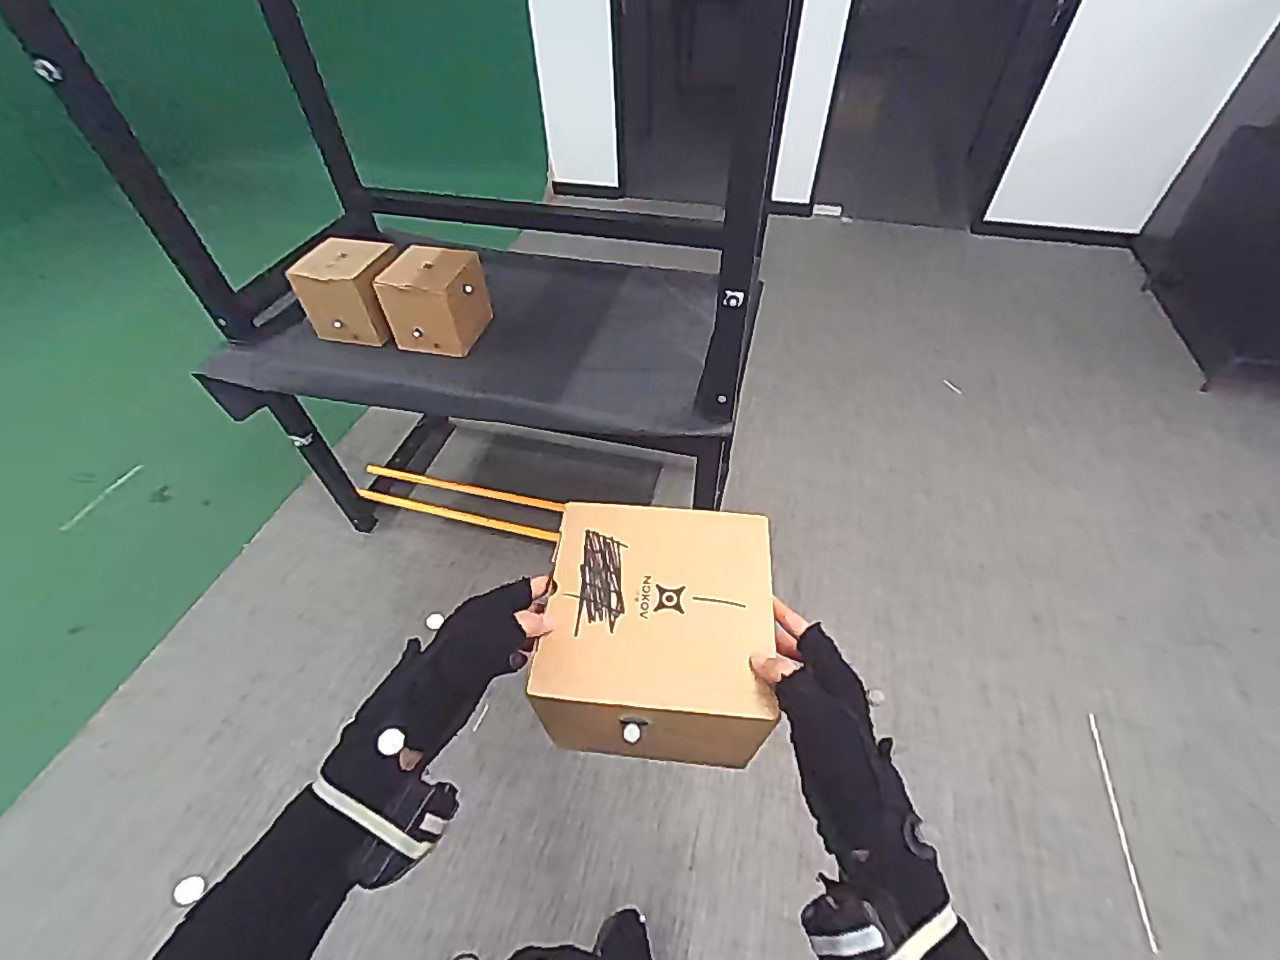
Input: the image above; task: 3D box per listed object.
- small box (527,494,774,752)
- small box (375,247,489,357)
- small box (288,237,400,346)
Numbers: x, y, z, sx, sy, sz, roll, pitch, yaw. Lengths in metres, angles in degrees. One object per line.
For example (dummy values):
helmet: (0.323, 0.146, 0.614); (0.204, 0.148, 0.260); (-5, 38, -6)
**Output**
small box: (0.014, 0.132, 0.483); (0.179, 0.176, 0.168); (5, 52, 3)
small box: (-0.462, -0.408, 1.237); (0.168, 0.176, 0.179); (9, 49, 9)
small box: (-0.662, -0.440, 1.264); (0.168, 0.176, 0.179); (9, 49, 9)
